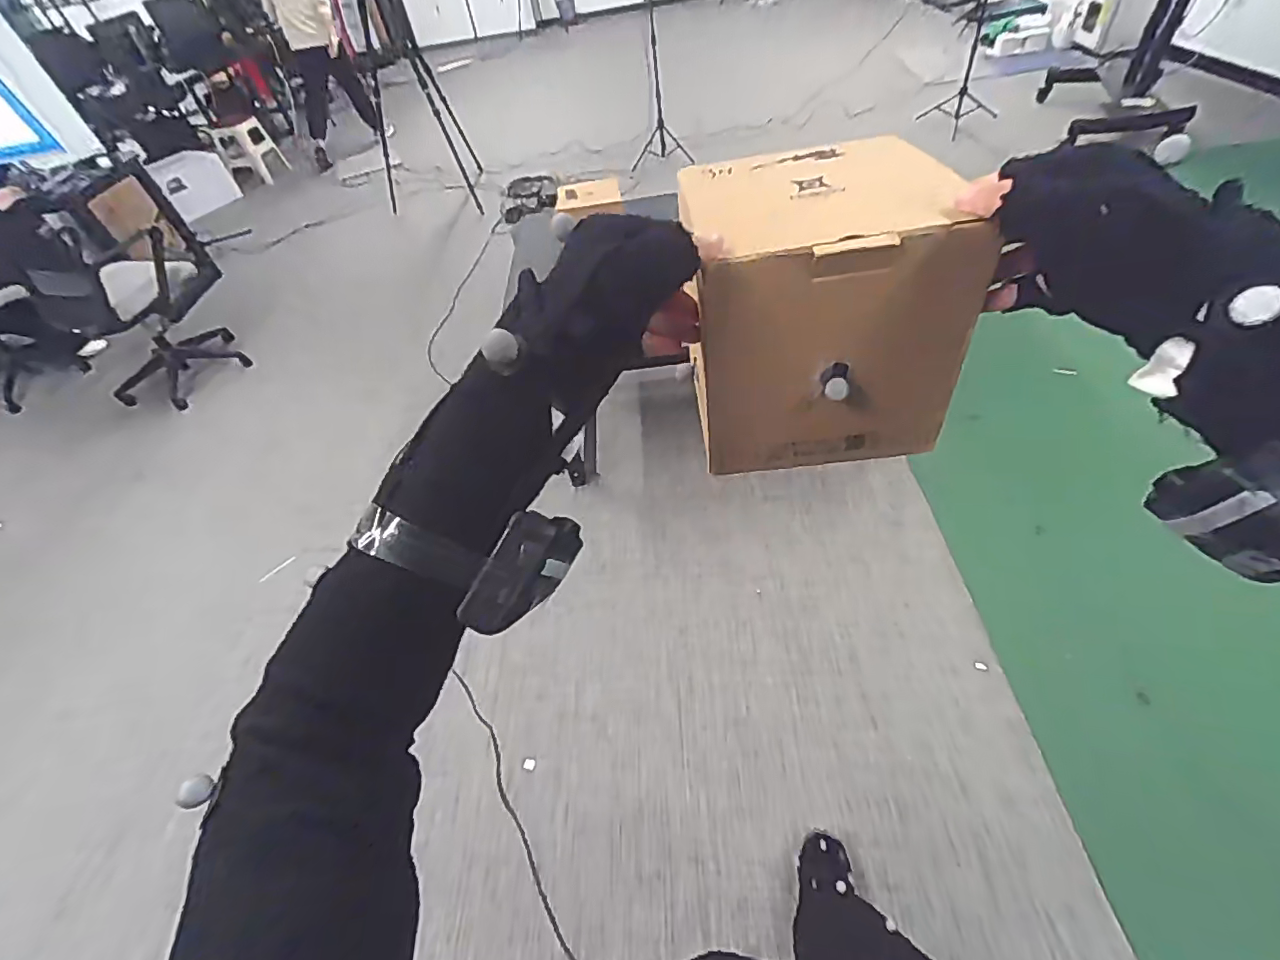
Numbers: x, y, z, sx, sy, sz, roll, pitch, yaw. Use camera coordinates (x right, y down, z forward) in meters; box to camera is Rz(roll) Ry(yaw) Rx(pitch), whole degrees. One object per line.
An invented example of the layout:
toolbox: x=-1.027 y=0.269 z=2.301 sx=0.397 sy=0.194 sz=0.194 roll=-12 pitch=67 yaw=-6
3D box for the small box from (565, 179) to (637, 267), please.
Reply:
small box: x=-0.107 y=-0.718 z=1.524 sx=0.179 sy=0.176 sz=0.168 roll=-7 pitch=49 yaw=2

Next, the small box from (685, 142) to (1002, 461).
small box: x=0.127 y=-0.127 z=0.411 sx=0.168 sy=0.176 sz=0.179 roll=-6 pitch=45 yaw=5
